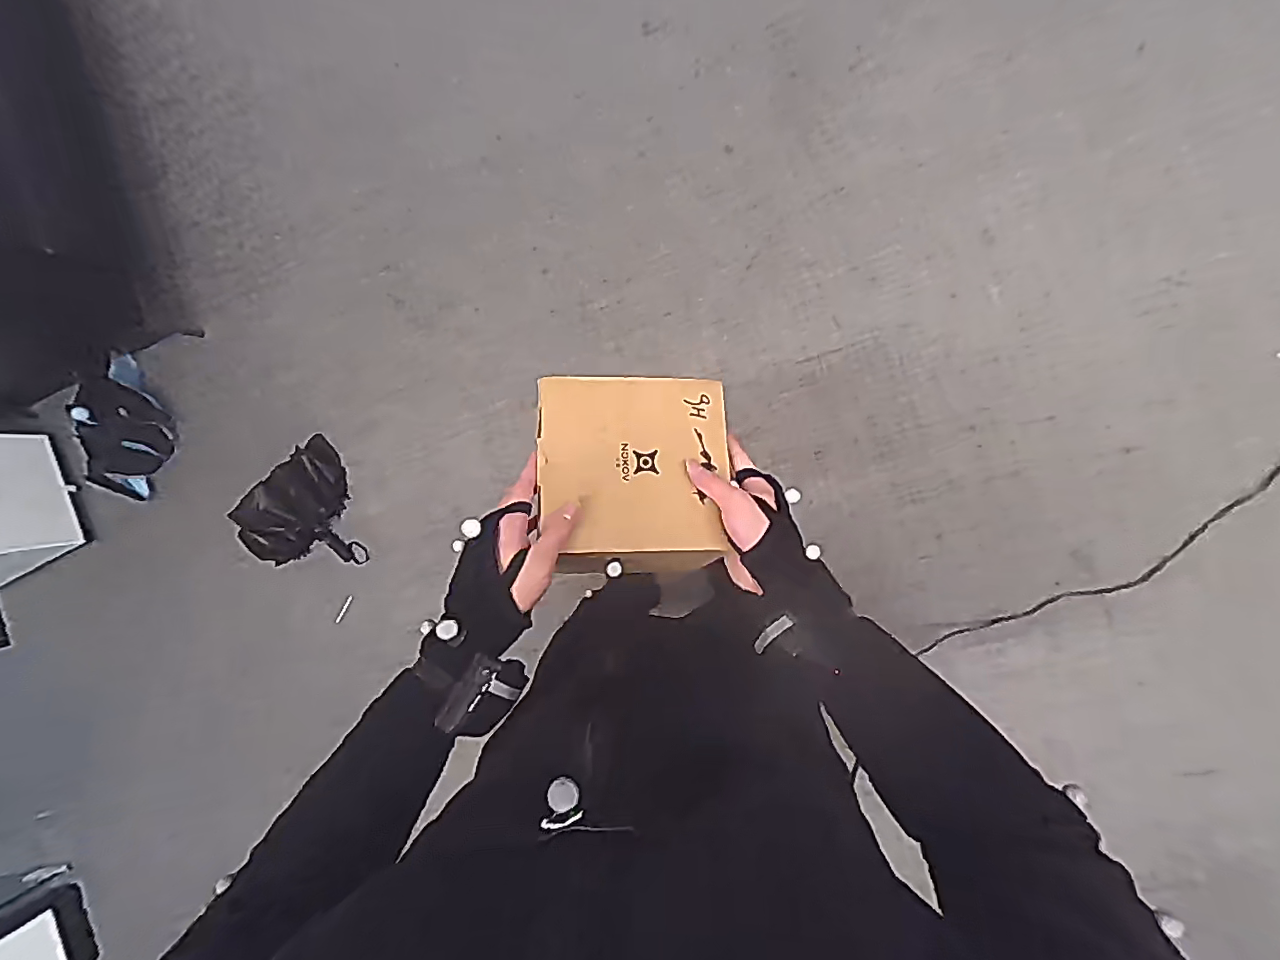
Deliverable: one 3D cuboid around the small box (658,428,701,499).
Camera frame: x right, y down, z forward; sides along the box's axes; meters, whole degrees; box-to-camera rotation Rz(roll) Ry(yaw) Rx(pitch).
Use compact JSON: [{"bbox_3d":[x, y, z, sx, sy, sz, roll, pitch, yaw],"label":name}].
[{"bbox_3d":[0.037,-0.015,1.336,0.168,0.176,0.179,-22,88,15],"label":"small box"}]
